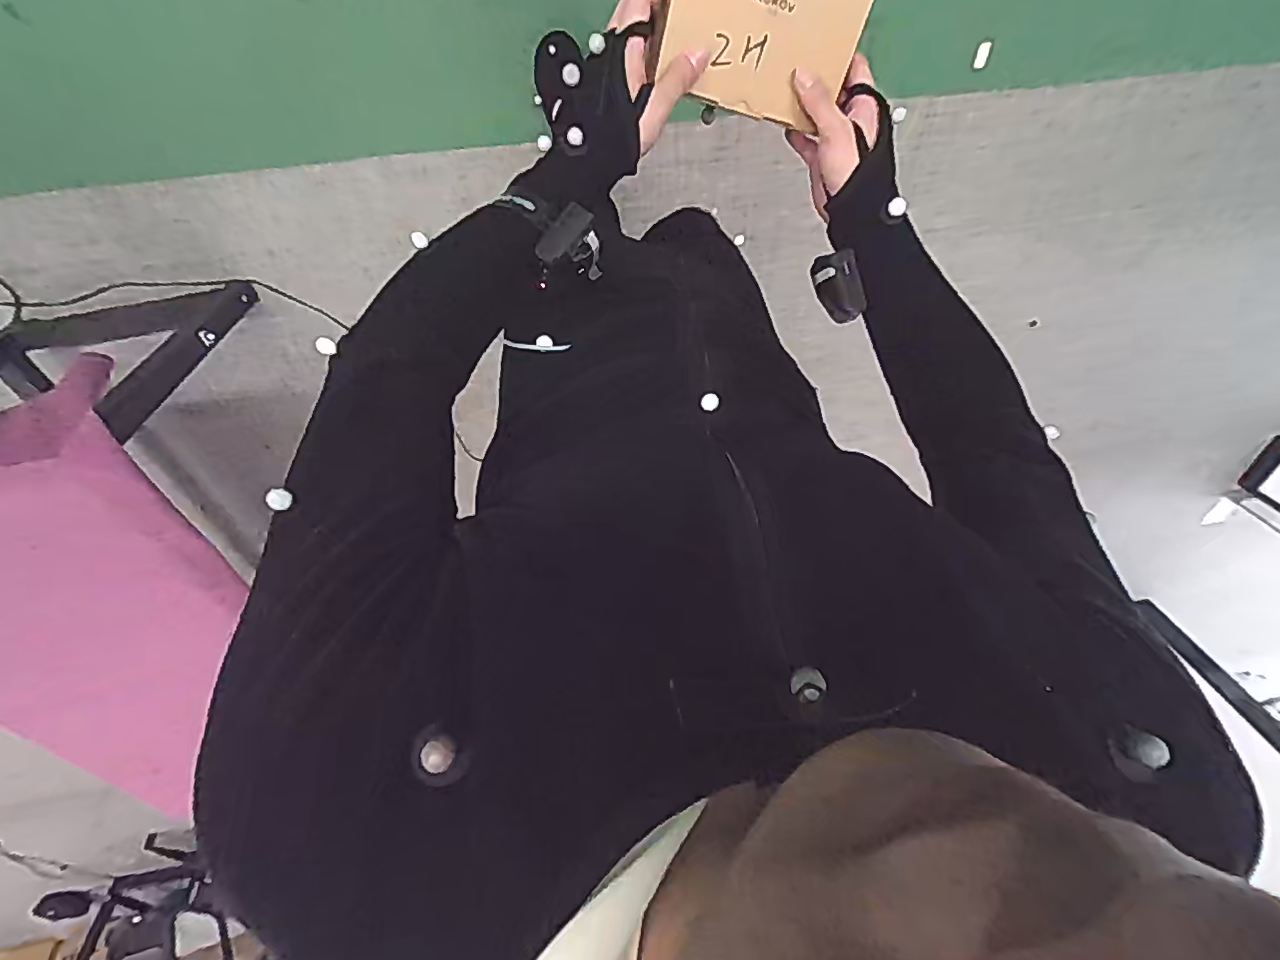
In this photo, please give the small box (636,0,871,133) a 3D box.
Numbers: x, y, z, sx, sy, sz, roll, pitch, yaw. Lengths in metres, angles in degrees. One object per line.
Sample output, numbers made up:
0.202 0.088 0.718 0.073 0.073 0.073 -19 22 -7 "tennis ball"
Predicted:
0.100 -0.448 0.493 0.168 0.176 0.179 8 126 -14 "small box"
